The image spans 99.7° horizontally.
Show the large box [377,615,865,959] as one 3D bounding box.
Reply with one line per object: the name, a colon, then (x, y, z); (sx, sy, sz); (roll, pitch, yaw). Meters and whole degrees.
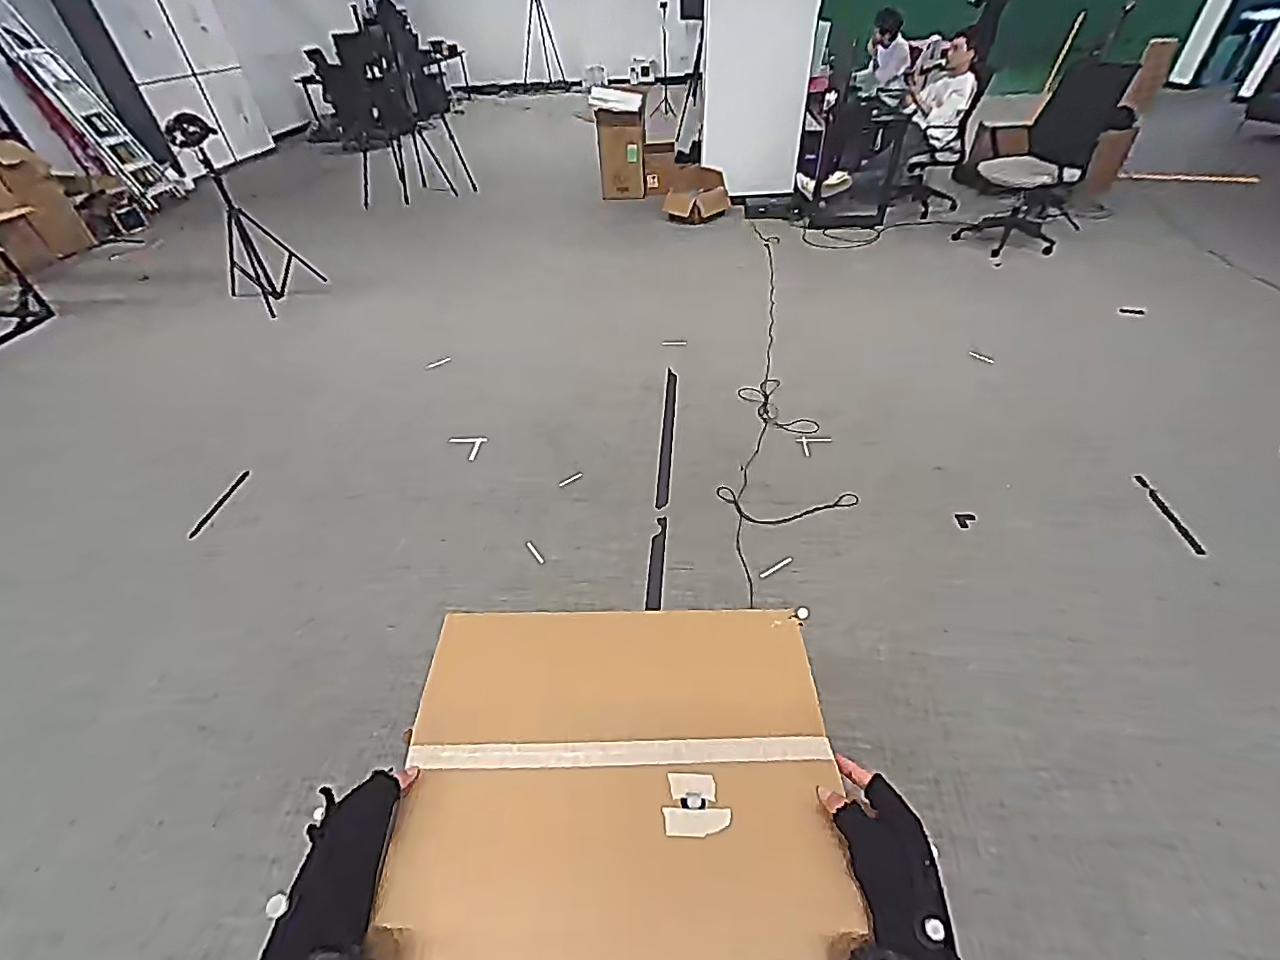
large box: (-0.020, 0.378, 0.641); (0.408, 0.320, 0.320); (0, 45, -1)
